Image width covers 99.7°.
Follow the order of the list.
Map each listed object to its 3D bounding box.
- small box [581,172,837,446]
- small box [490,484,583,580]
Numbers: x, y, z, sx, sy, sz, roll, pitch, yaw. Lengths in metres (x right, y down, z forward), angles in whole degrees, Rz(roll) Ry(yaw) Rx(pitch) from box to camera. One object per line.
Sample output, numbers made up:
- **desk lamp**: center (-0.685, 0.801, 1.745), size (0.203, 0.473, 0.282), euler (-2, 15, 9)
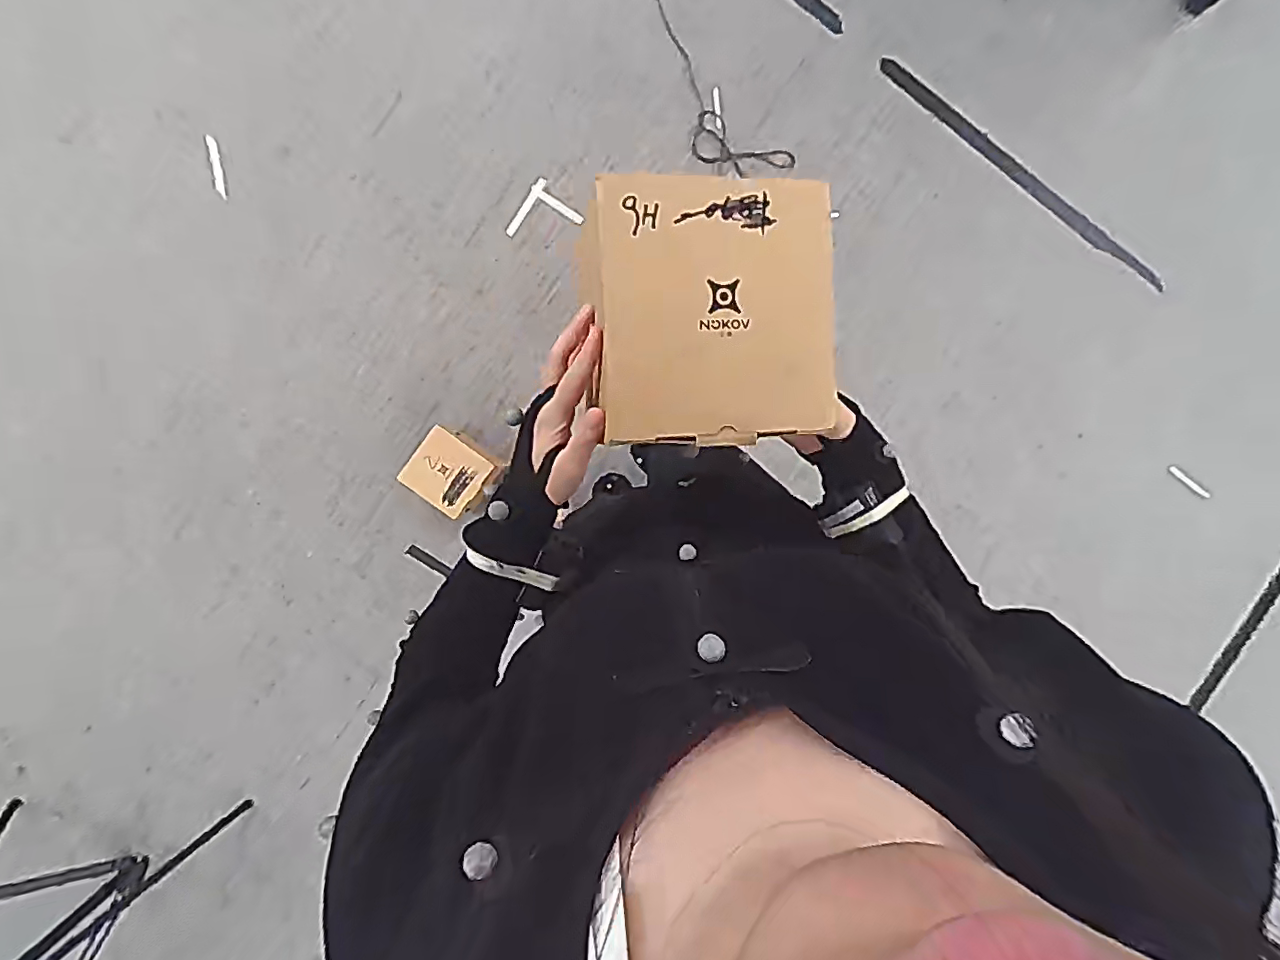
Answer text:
- **small box**: center (0.042, -0.120, 0.444), size (0.168, 0.176, 0.179), euler (-3, 95, -11)
- **small box**: center (-0.258, 0.128, 1.400), size (0.168, 0.176, 0.179), euler (38, 89, -5)
